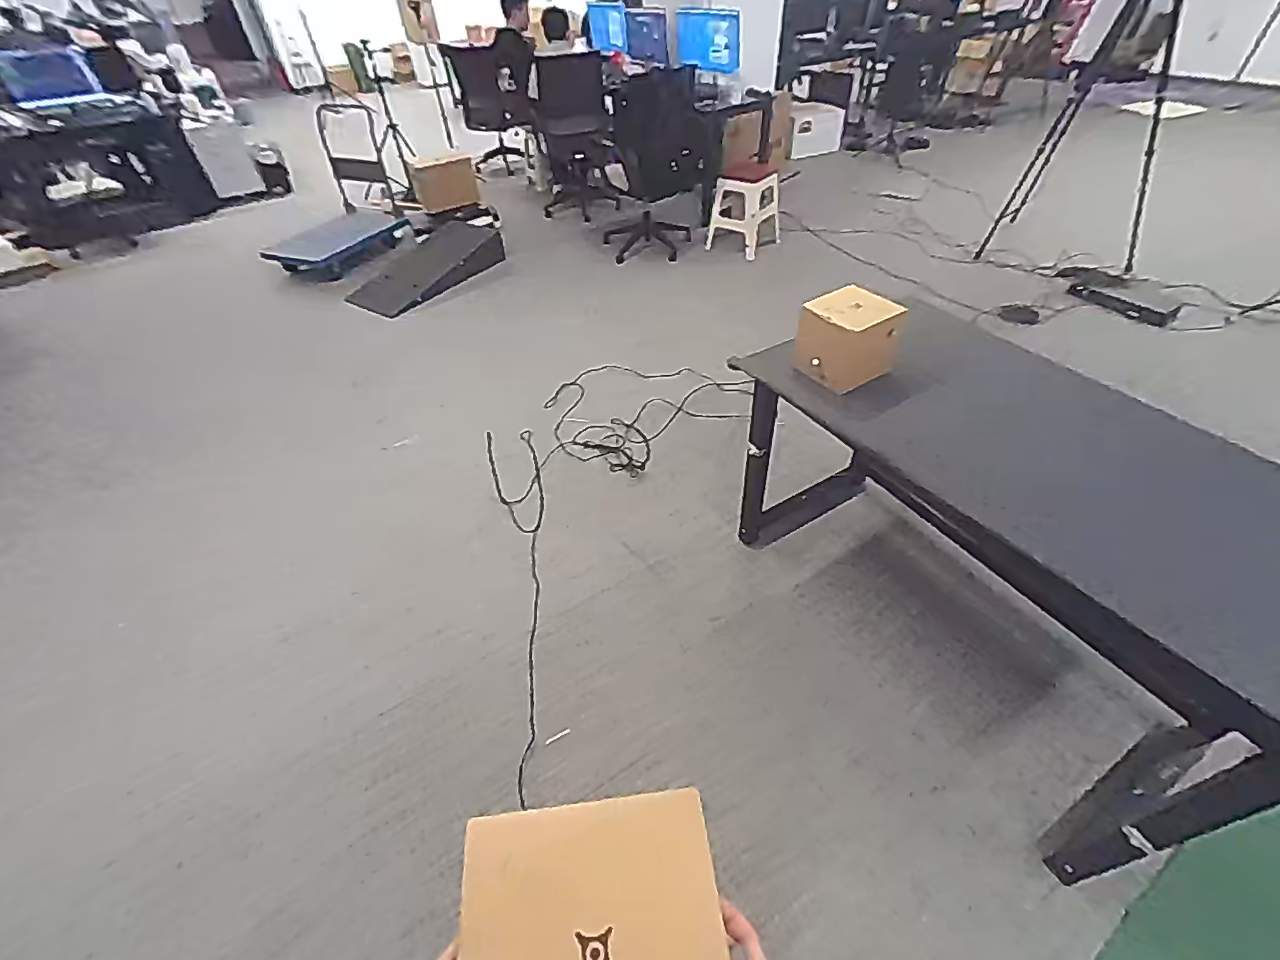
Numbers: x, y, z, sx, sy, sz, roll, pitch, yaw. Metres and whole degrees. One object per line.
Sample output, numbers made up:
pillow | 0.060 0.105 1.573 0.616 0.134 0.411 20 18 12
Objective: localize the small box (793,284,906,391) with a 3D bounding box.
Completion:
small box | 0.492 -0.342 1.300 0.179 0.176 0.168 -26 49 -21

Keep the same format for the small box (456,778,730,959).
small box | -0.034 0.338 0.384 0.168 0.176 0.179 -3 47 -8
